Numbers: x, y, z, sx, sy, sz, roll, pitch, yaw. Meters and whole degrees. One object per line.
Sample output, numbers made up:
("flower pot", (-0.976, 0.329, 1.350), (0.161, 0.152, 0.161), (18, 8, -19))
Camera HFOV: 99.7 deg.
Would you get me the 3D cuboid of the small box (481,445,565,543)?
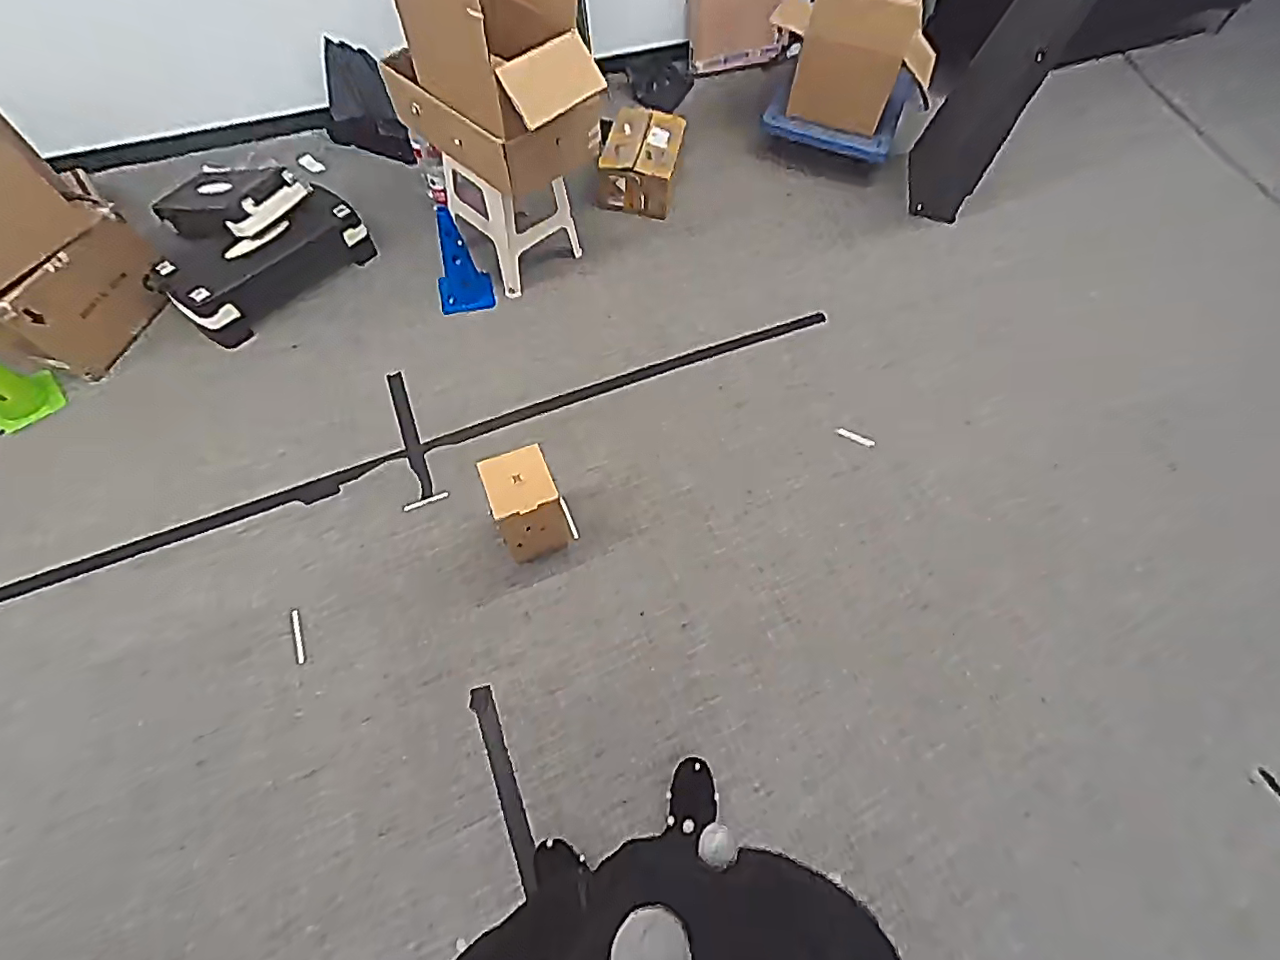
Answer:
("small box", (-0.306, 0.040, 1.432), (0.168, 0.176, 0.179), (-20, 65, -14))
